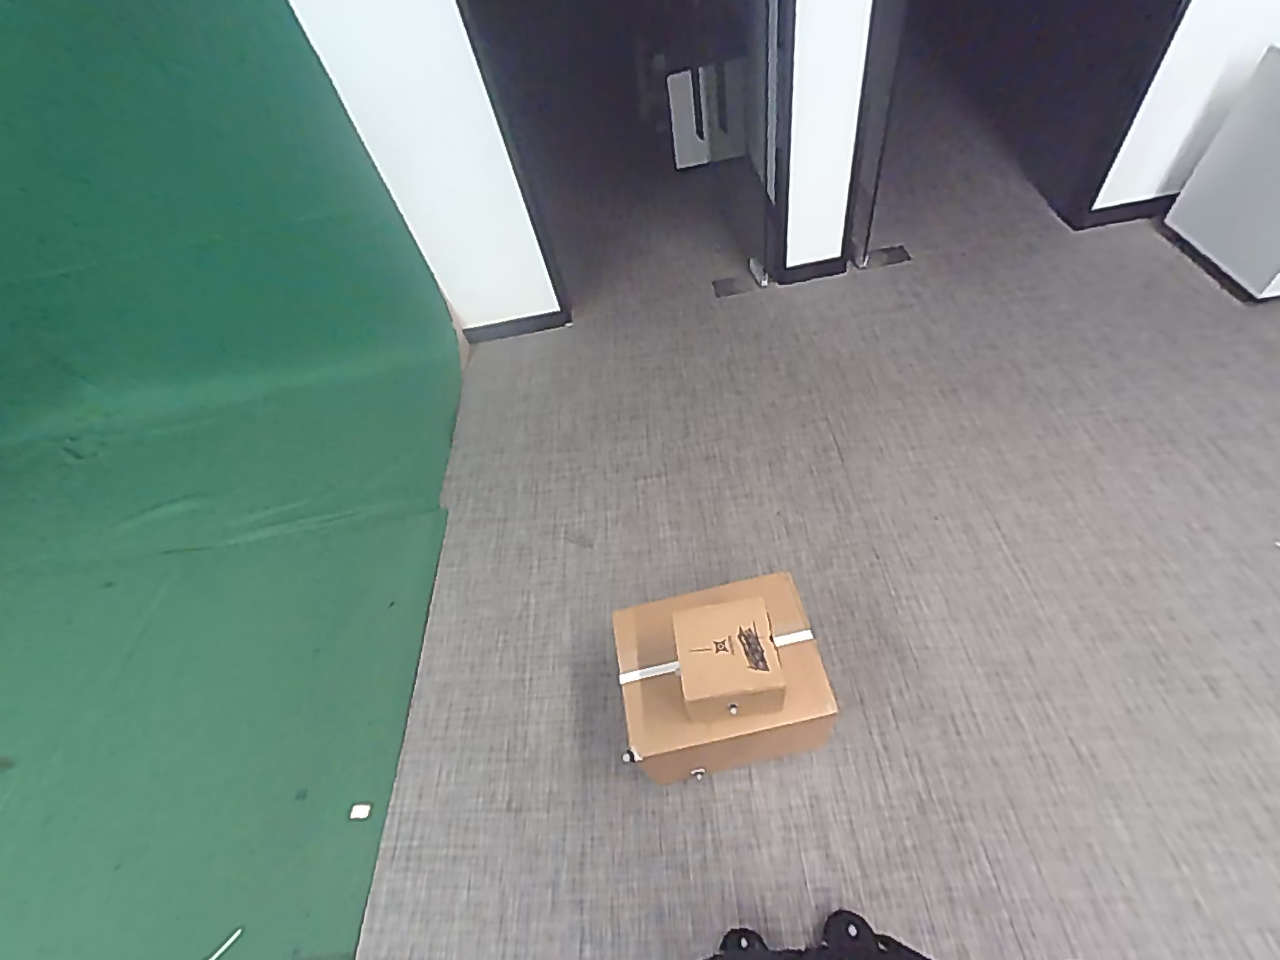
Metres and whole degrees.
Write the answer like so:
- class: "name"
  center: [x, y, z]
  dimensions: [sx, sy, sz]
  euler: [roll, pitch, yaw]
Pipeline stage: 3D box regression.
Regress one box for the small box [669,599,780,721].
- class: "small box"
  center: [0.159, 0.346, 1.033]
  dimensions: [0.179, 0.176, 0.168]
  euler: [-11, 52, 5]
